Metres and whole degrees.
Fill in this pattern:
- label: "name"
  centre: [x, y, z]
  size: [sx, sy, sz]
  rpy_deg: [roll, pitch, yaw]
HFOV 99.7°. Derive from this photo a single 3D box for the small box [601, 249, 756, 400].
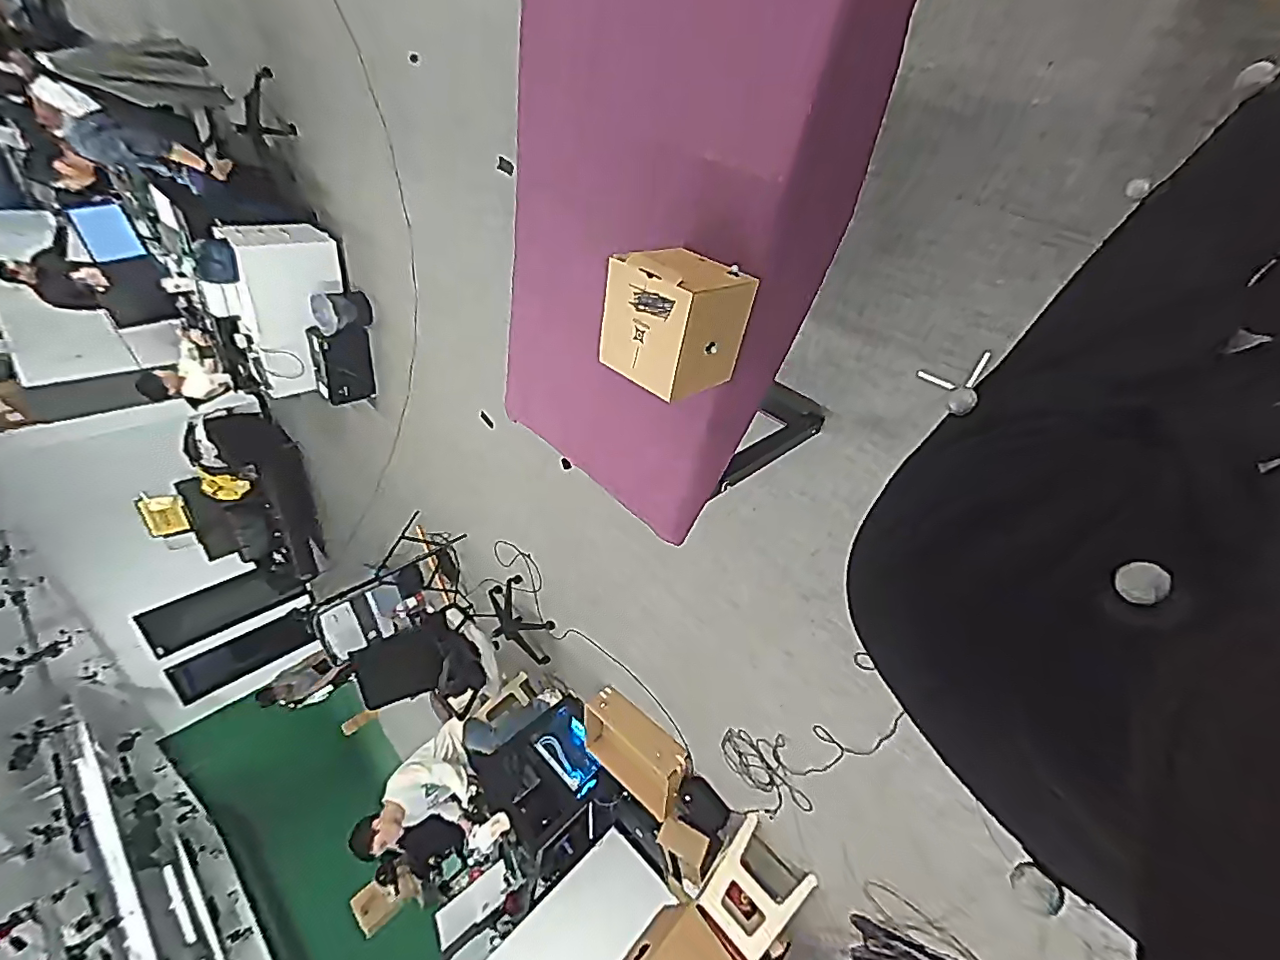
- label: "small box"
  centre: [0.062, -0.259, 0.868]
  size: [0.168, 0.176, 0.179]
  rpy_deg: [36, 133, 30]
